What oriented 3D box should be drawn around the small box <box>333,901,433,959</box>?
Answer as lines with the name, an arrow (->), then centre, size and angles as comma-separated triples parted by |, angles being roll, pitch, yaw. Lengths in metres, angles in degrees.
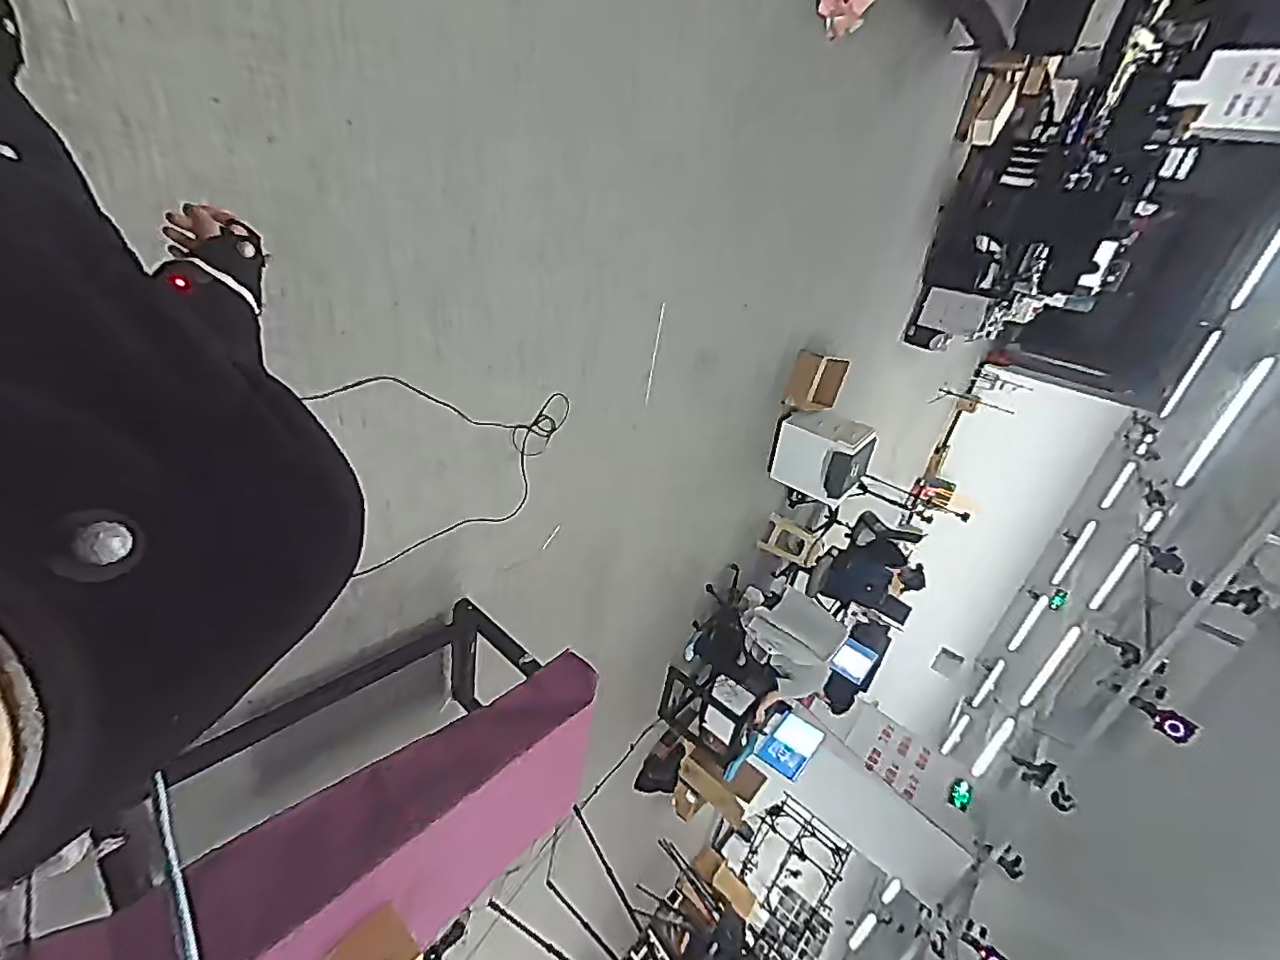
small box -> -0.651, 1.240, 1.377 | 0.179, 0.176, 0.168 | -20, 129, -46
